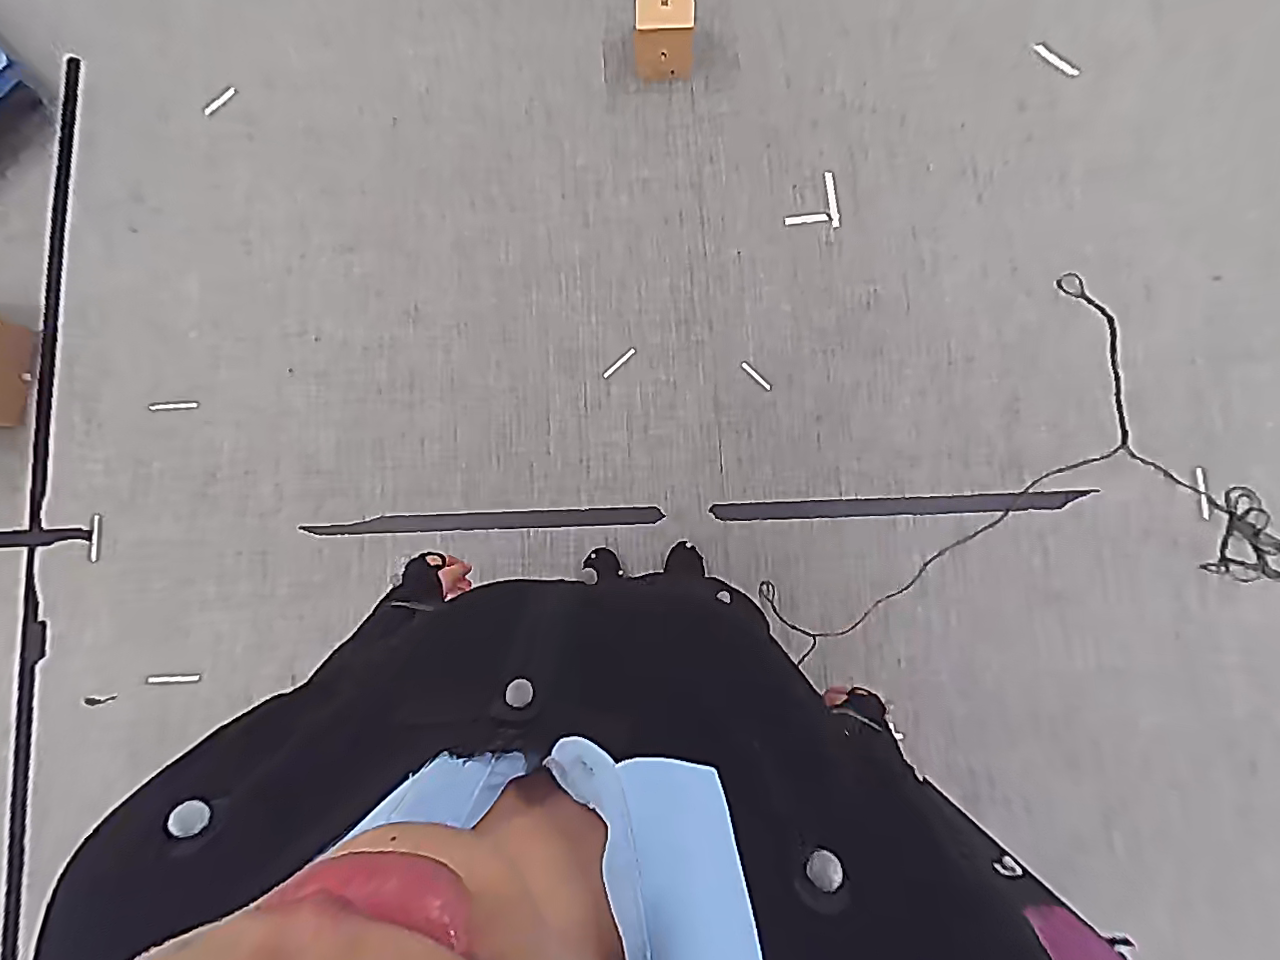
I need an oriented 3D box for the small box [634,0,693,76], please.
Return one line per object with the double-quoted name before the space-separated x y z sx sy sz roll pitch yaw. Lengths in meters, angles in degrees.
"small box" 0.072 -1.339 1.602 0.168 0.176 0.179 1 83 3
